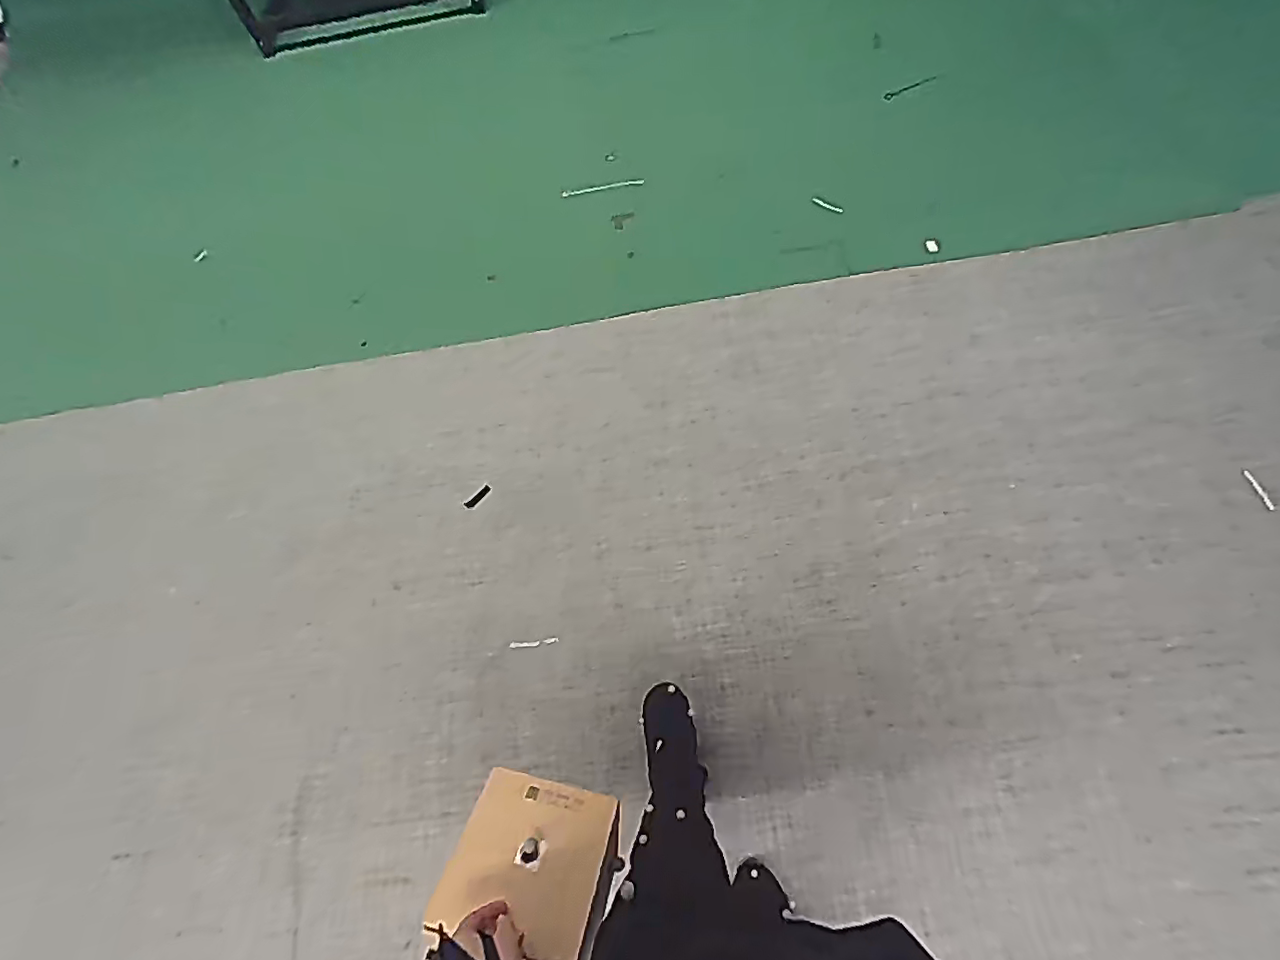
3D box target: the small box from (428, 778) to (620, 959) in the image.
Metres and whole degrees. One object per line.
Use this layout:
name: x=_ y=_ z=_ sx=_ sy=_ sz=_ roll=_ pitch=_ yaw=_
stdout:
small box: x=-0.123 y=0.492 z=0.648 sx=0.168 sy=0.179 sz=0.176 roll=9 pitch=35 yaw=10
